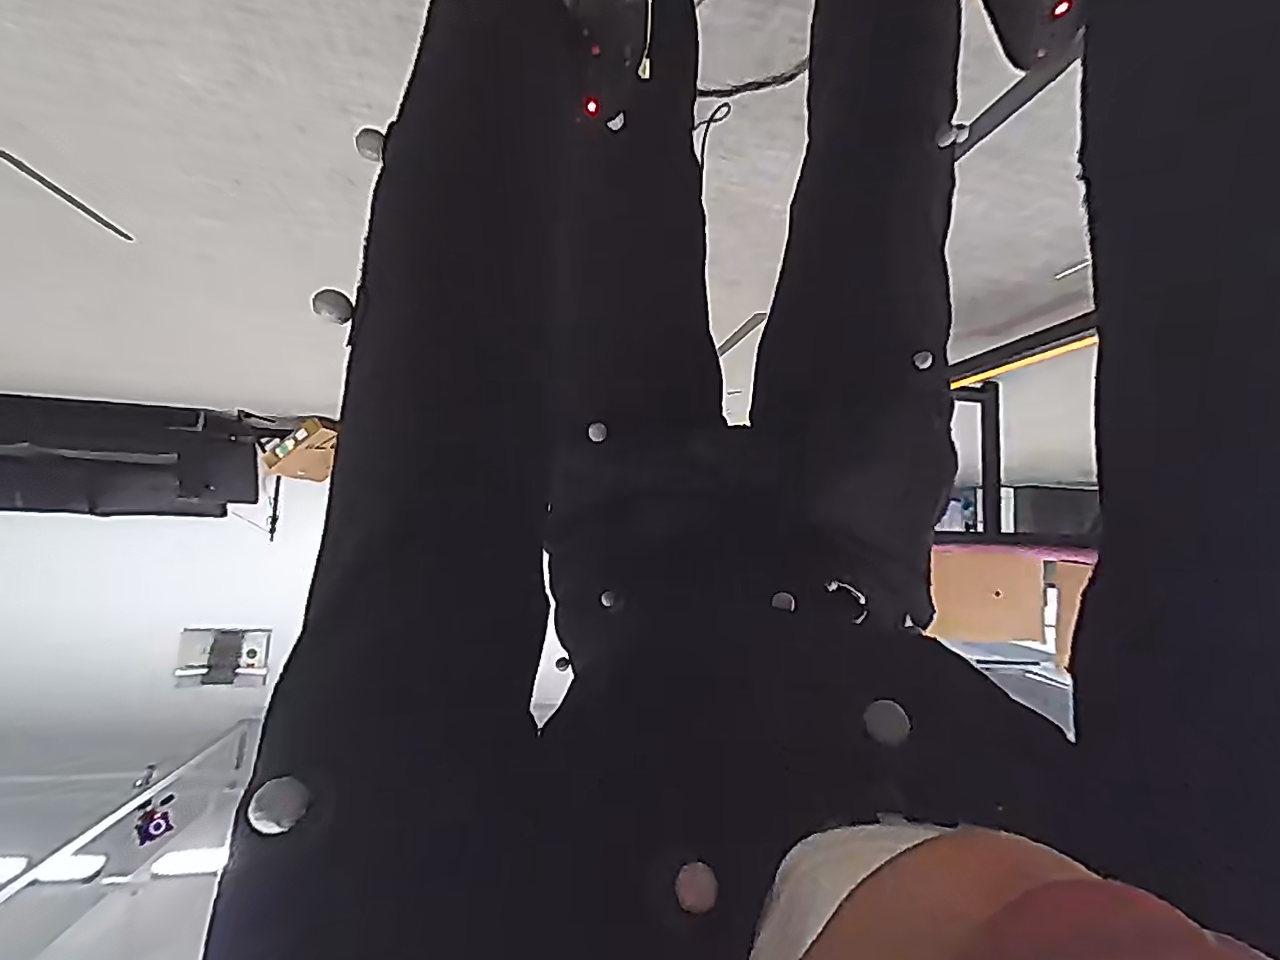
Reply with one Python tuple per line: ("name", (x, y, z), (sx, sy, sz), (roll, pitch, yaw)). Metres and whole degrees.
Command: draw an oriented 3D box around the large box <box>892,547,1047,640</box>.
("large box", (1.223, 0.416, 2.036), (0.408, 0.320, 0.320), (3, 176, -10))
